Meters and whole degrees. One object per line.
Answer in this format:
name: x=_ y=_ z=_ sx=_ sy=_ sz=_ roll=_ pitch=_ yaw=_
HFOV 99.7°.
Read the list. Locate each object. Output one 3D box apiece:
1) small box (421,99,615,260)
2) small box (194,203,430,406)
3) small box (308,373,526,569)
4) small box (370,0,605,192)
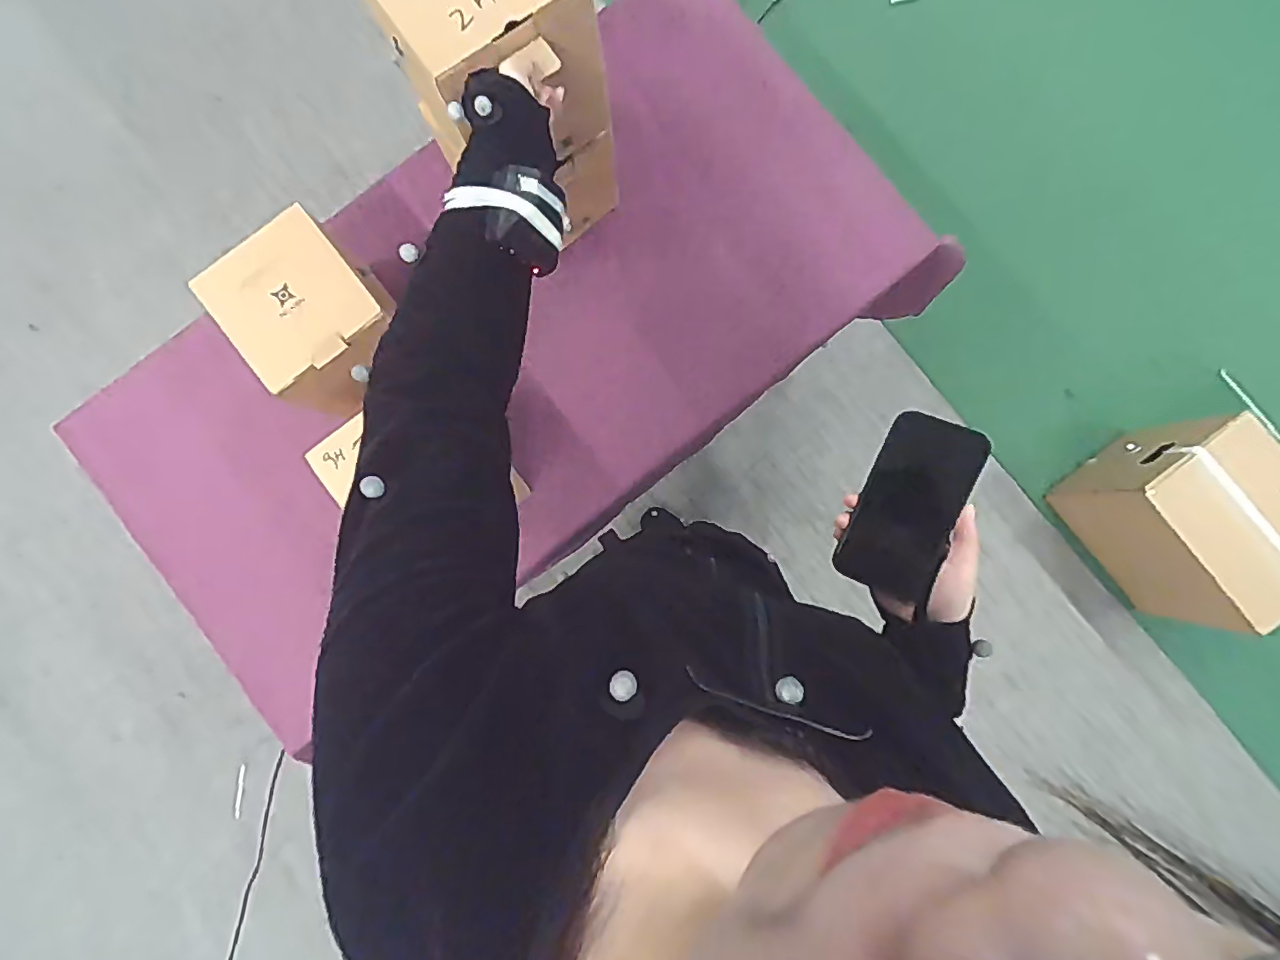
small box: x=-0.151 y=-0.441 z=0.733 sx=0.168 sy=0.176 sz=0.179 roll=-40 pitch=88 yaw=-1
small box: x=-0.419 y=-0.215 z=0.725 sx=0.168 sy=0.176 sz=0.179 roll=-38 pitch=87 yaw=-2
small box: x=-0.273 y=-0.009 z=0.711 sx=0.168 sy=0.176 sz=0.179 roll=-38 pitch=87 yaw=-2
small box: x=-0.155 y=-0.449 z=0.559 sx=0.168 sy=0.176 sz=0.179 roll=-35 pitch=81 yaw=-1
